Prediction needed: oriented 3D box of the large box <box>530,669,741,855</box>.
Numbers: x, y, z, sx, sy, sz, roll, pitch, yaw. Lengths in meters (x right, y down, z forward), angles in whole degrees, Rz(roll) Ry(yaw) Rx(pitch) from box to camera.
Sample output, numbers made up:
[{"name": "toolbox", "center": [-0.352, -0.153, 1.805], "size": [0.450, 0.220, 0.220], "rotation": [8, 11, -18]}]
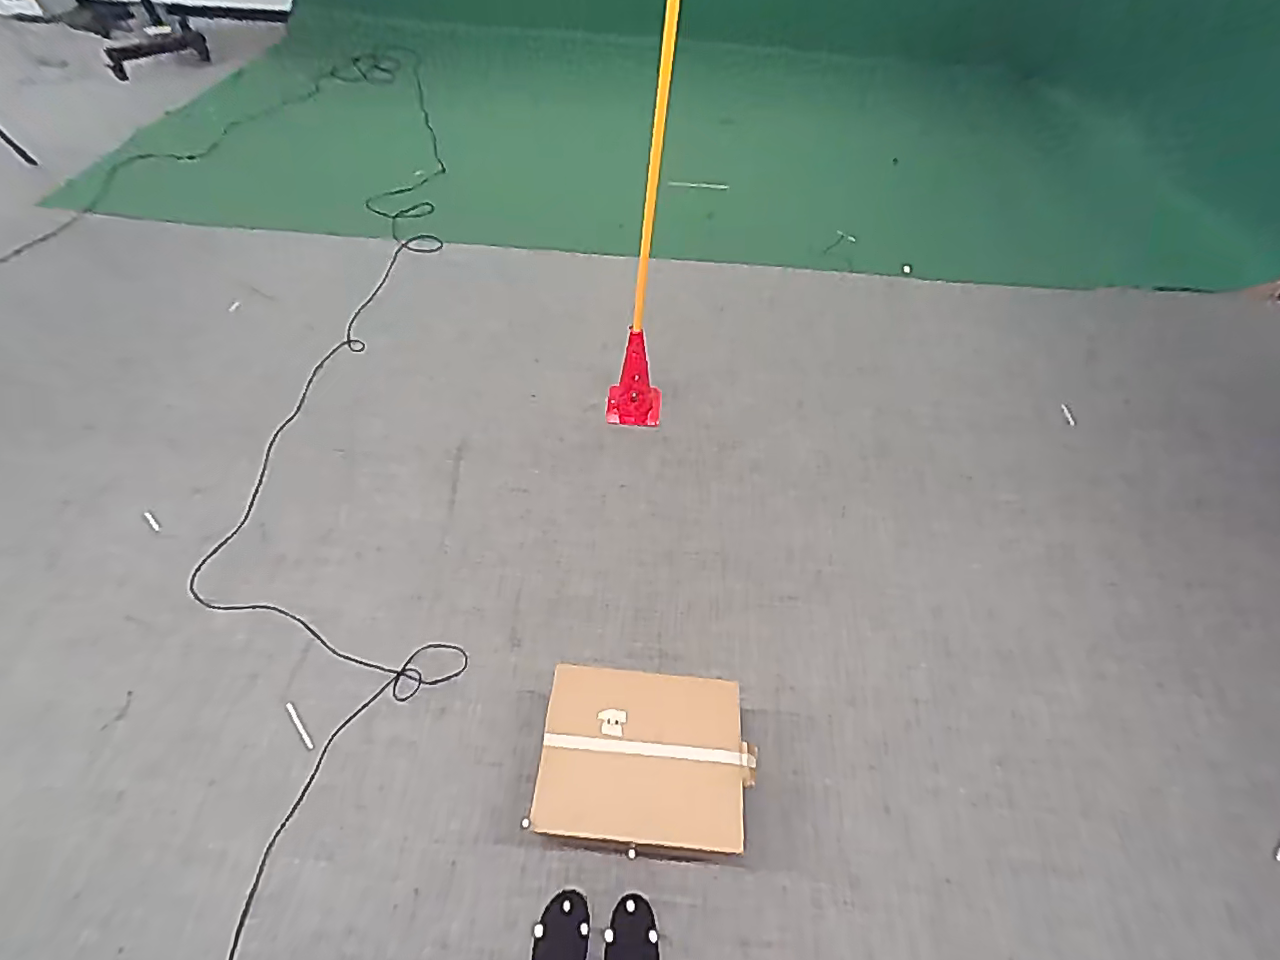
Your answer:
[{"name": "large box", "center": [0.000, 0.640, 1.215], "size": [0.408, 0.320, 0.320], "rotation": [6, 53, 2]}]
